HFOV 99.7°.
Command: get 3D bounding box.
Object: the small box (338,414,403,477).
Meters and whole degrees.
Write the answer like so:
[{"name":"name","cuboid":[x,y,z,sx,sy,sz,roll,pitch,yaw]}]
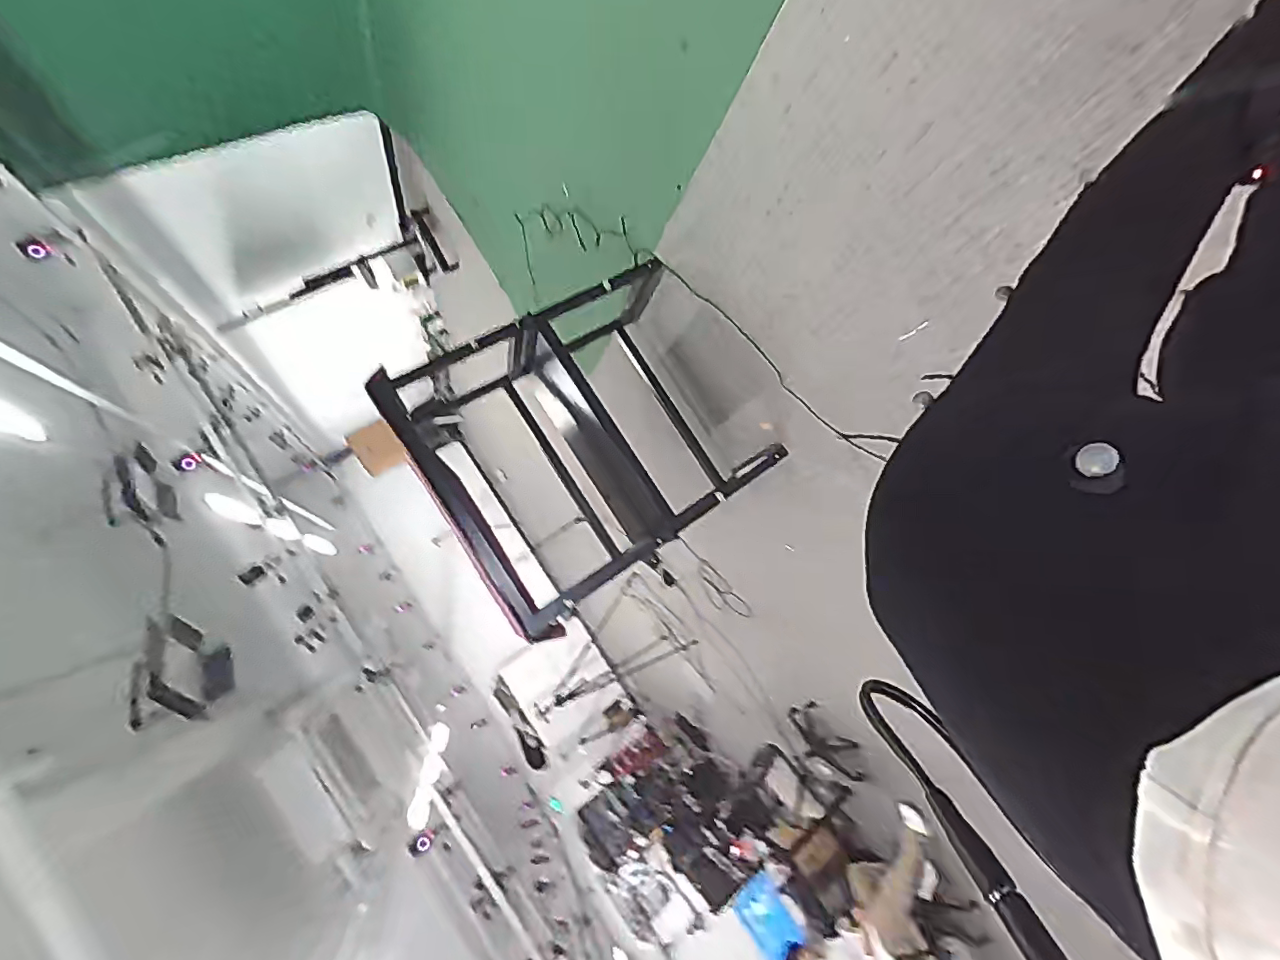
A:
[{"name":"small box","cuboid":[-1.067,-0.137,2.165,0.179,0.176,0.168,58,158,-2]}]
